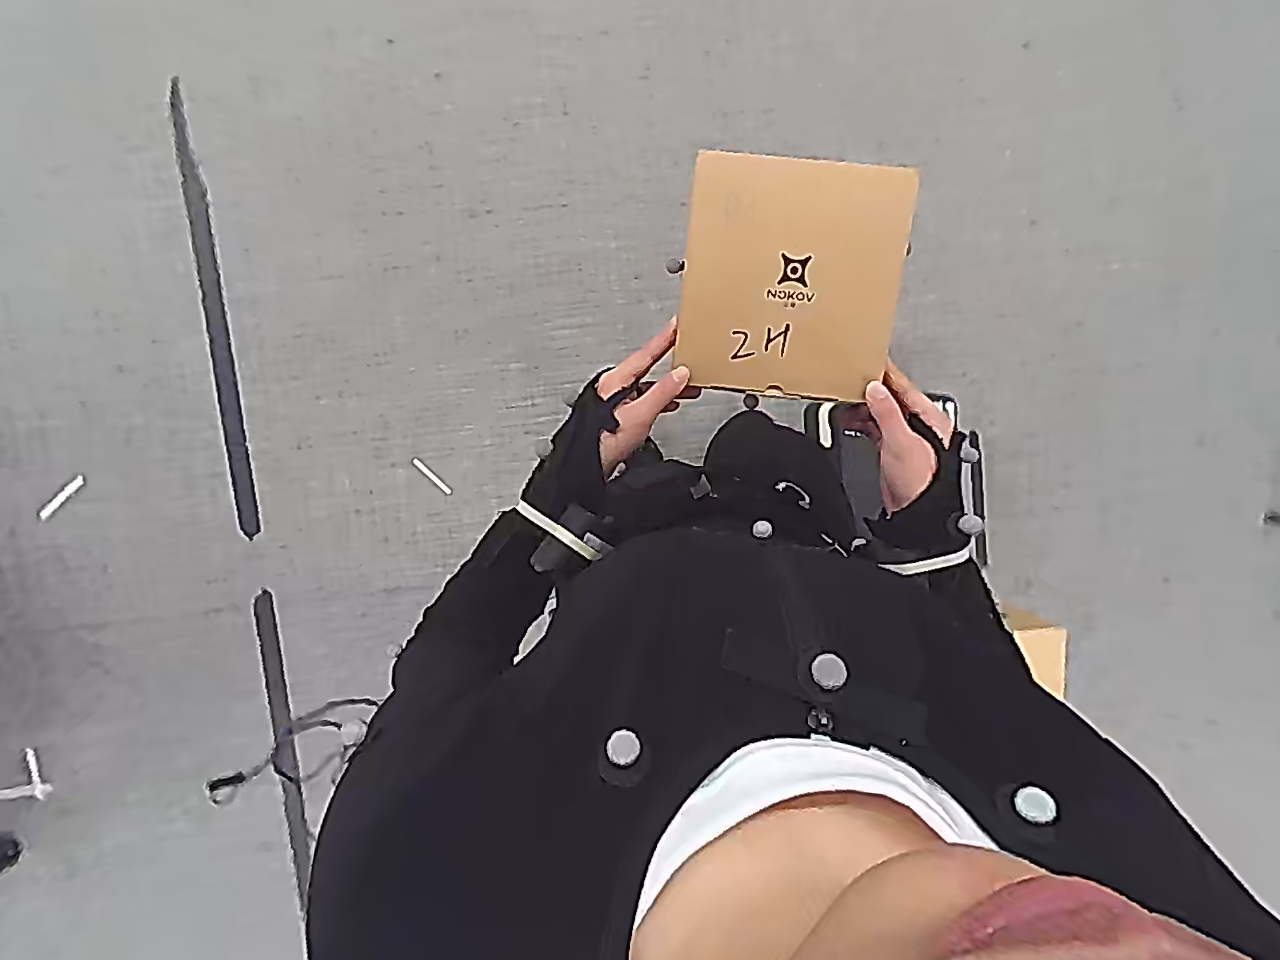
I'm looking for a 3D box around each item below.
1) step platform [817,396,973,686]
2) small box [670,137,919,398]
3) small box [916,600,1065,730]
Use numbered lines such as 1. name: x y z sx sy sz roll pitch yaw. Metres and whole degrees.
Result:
1. step platform: 0.617 0.142 1.310 0.286 0.204 0.684 -6 95 -3
2. small box: 0.117 -0.171 0.486 0.168 0.176 0.179 7 101 3
3. small box: 0.630 0.327 0.990 0.168 0.176 0.179 -3 96 -3
